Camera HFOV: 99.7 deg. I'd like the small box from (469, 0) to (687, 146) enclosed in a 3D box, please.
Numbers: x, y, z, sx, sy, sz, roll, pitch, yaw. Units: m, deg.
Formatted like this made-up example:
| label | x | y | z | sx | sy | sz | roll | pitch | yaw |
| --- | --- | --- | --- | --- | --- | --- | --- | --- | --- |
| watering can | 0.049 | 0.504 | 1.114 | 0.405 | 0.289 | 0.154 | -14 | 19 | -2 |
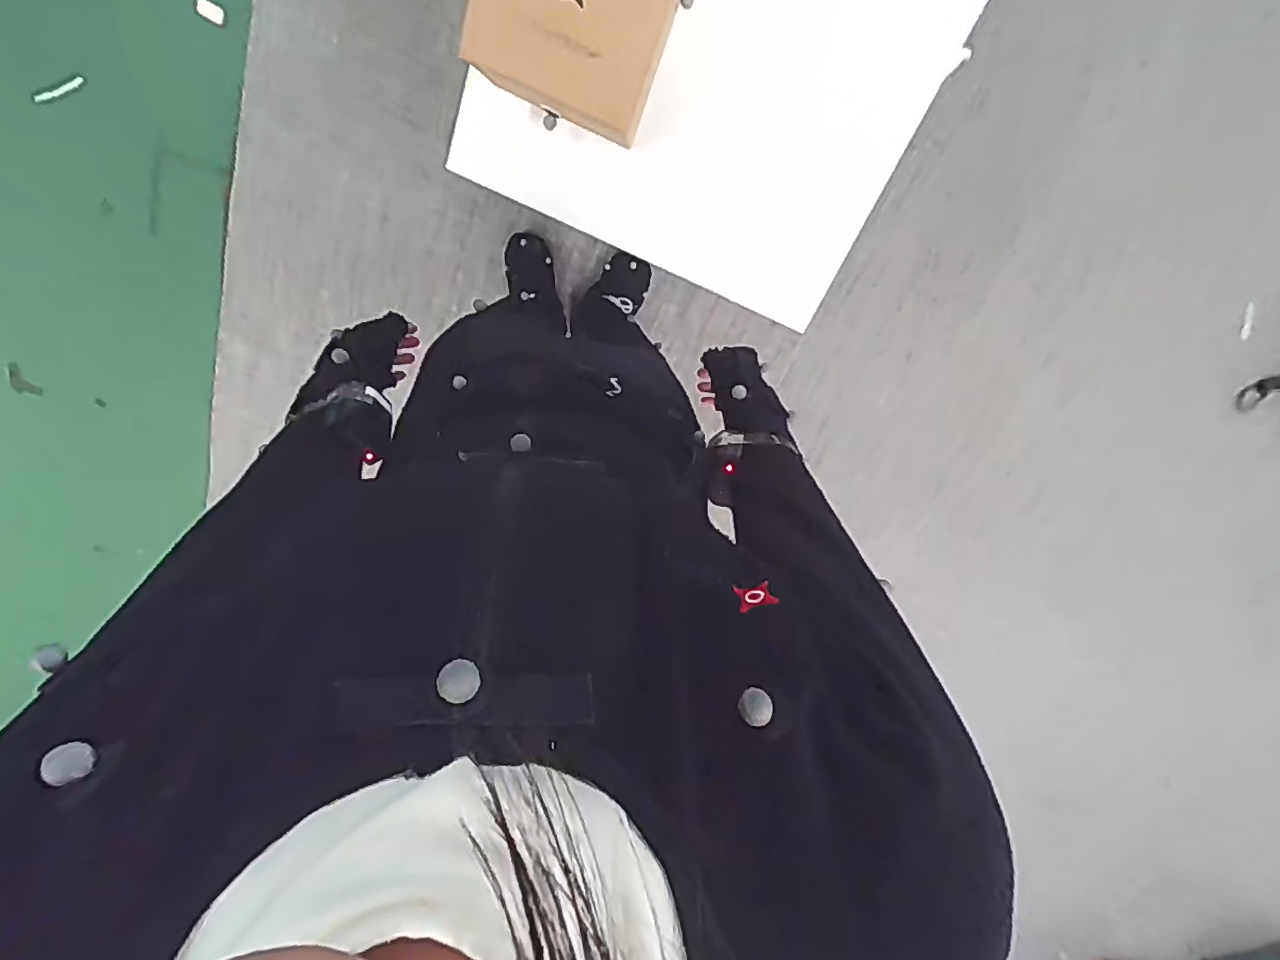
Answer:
| label | x | y | z | sx | sy | sz | roll | pitch | yaw |
| --- | --- | --- | --- | --- | --- | --- | --- | --- | --- |
| small box | -0.049 | -0.462 | 0.537 | 0.168 | 0.176 | 0.179 | 19 | 117 | -8 |
